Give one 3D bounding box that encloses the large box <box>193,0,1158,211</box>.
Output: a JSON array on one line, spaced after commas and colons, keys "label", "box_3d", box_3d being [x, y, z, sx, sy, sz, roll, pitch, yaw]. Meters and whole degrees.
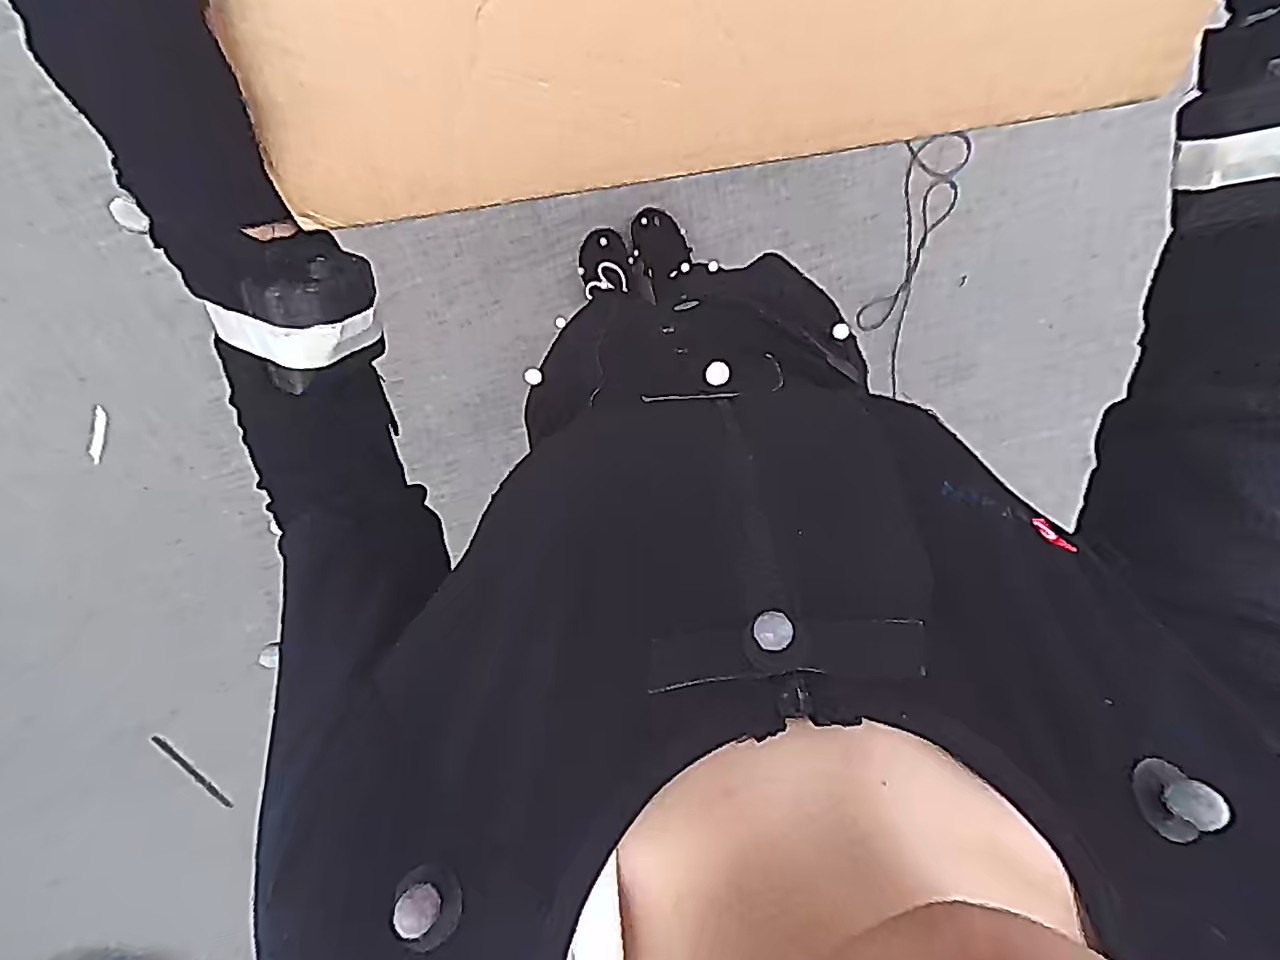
[{"label": "large box", "box_3d": [0.004, -0.371, 0.253, 0.408, 0.320, 0.320, -8, 135, 1]}]
